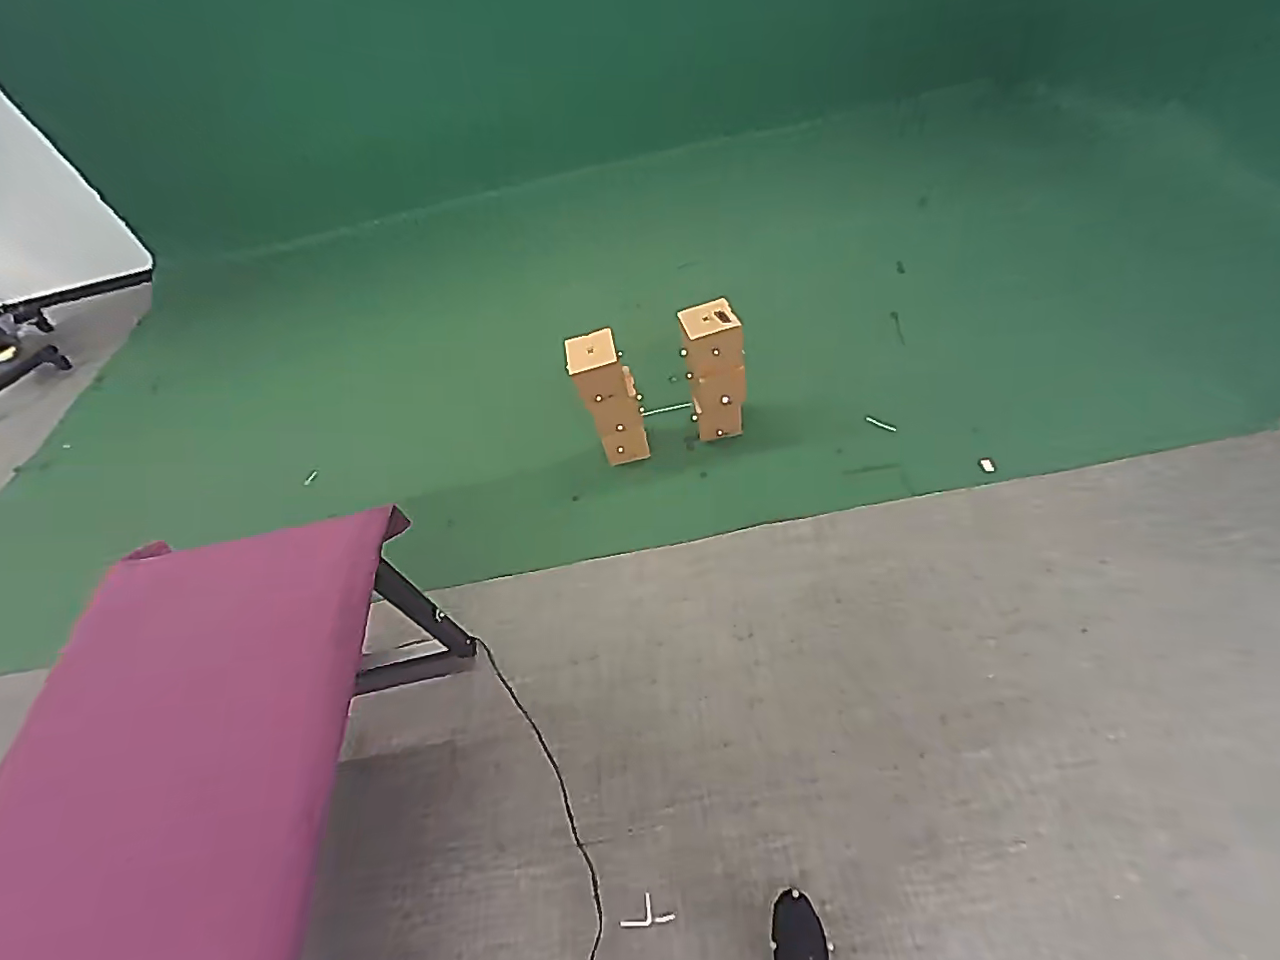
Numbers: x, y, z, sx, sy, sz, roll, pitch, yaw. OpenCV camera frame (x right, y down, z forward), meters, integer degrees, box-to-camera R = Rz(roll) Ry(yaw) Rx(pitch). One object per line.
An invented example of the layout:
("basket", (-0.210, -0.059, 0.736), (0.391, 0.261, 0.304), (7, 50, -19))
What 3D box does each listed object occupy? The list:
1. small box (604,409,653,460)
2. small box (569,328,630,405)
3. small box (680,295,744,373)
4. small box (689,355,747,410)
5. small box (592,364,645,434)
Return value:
("small box", (-0.051, -0.197, 2.119), (0.168, 0.176, 0.179), (-14, 51, 4))
("small box", (-0.139, -0.389, 1.868), (0.168, 0.176, 0.179), (-15, 51, 5))
("small box", (0.249, -0.499, 1.856), (0.179, 0.176, 0.168), (-18, 51, 0))
("small box", (0.284, -0.387, 1.974), (0.168, 0.176, 0.179), (-19, 52, -1))
("small box", (-0.086, -0.296, 1.993), (0.179, 0.176, 0.168), (-15, 51, 2))
